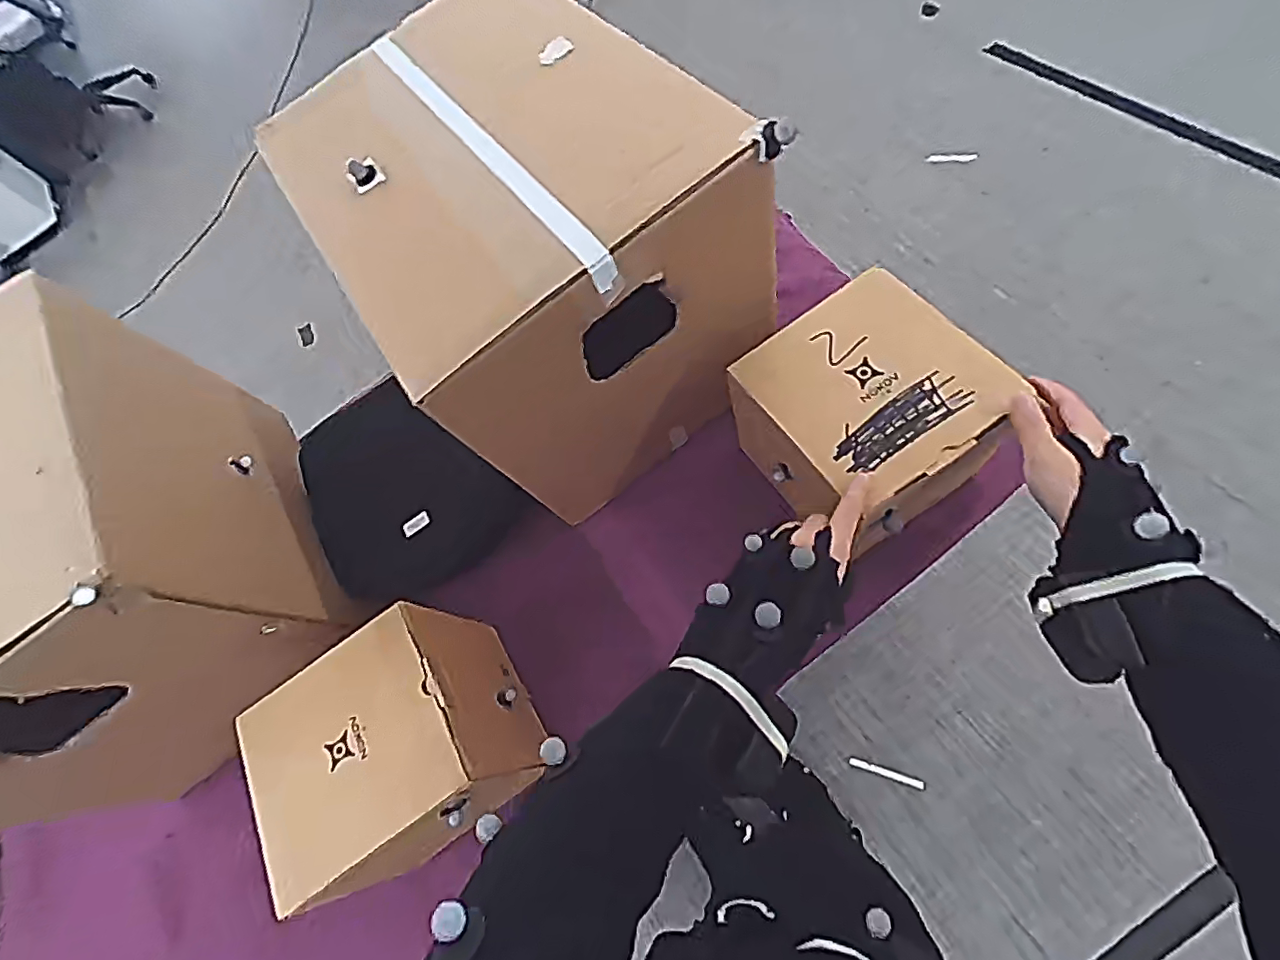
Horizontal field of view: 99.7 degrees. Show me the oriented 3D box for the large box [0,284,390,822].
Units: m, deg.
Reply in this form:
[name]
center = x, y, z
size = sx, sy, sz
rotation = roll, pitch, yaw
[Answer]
[large box]
center = -0.562, 0.082, 0.588
size = 0.320, 0.320, 0.408
rotation = -40, 67, -3
